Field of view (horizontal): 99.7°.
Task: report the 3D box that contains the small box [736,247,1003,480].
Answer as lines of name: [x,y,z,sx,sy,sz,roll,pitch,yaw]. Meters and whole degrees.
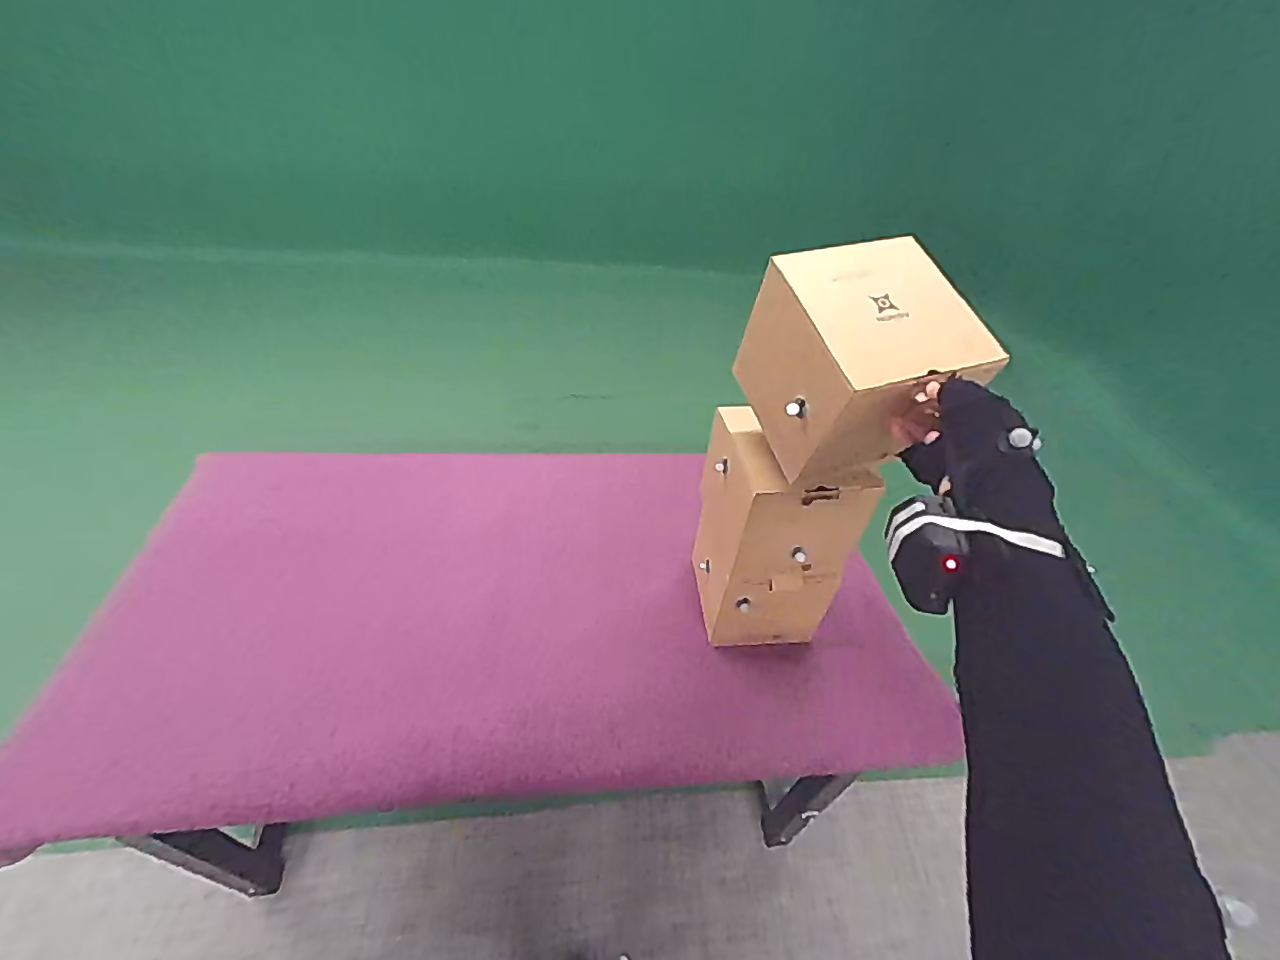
small box: [0.222,-0.114,0.577,0.168,0.176,0.179,-11,63,-13]

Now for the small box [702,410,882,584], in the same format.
small box: [0.190,0.020,0.744,0.168,0.176,0.179,-3,44,-9]
